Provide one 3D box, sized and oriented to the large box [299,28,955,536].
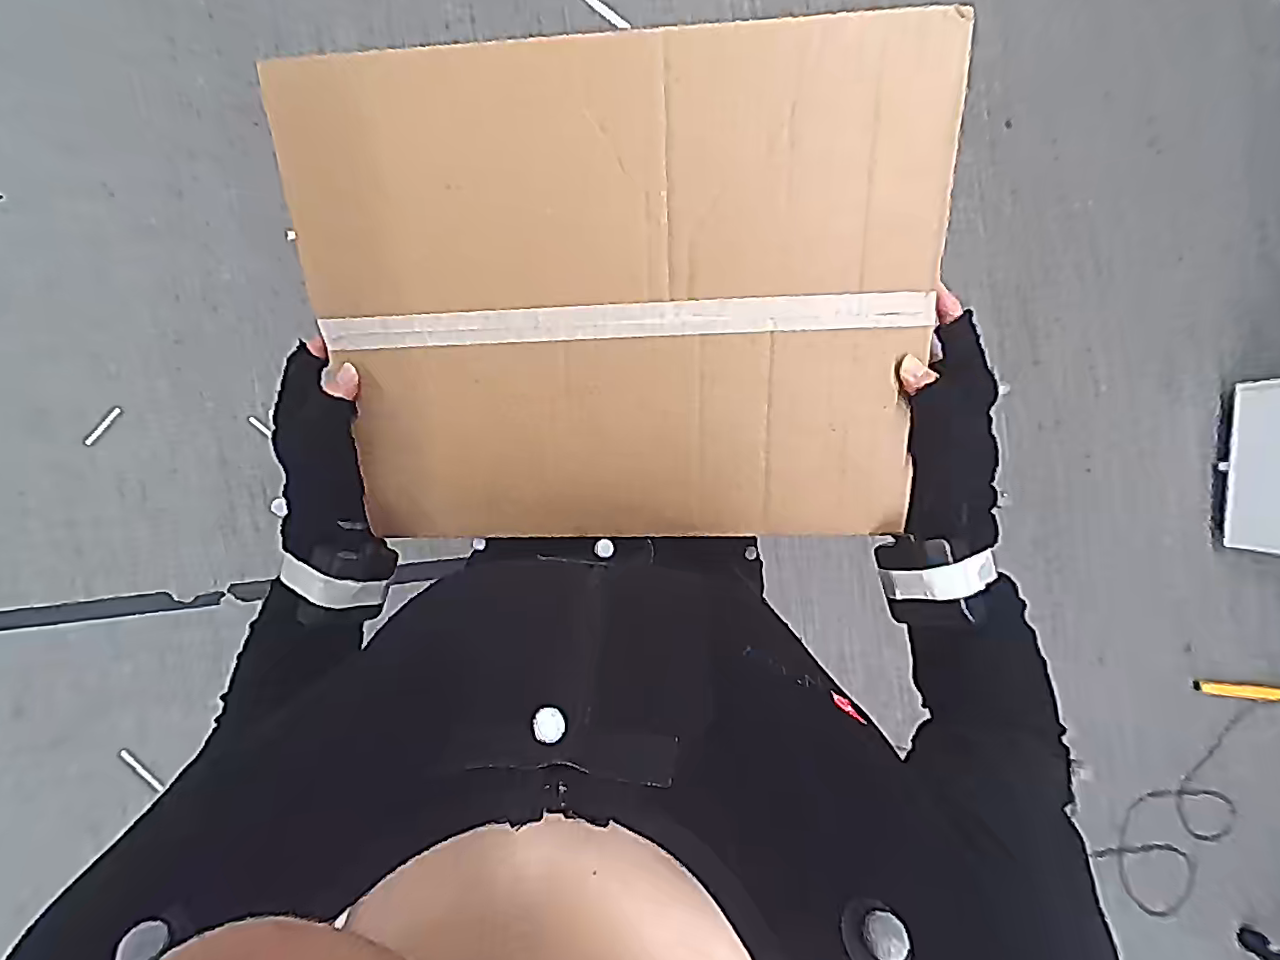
[{"bbox_3d":[-0.001,-0.155,0.510,0.408,0.320,0.320,-1,111,5],"label":"large box"}]
